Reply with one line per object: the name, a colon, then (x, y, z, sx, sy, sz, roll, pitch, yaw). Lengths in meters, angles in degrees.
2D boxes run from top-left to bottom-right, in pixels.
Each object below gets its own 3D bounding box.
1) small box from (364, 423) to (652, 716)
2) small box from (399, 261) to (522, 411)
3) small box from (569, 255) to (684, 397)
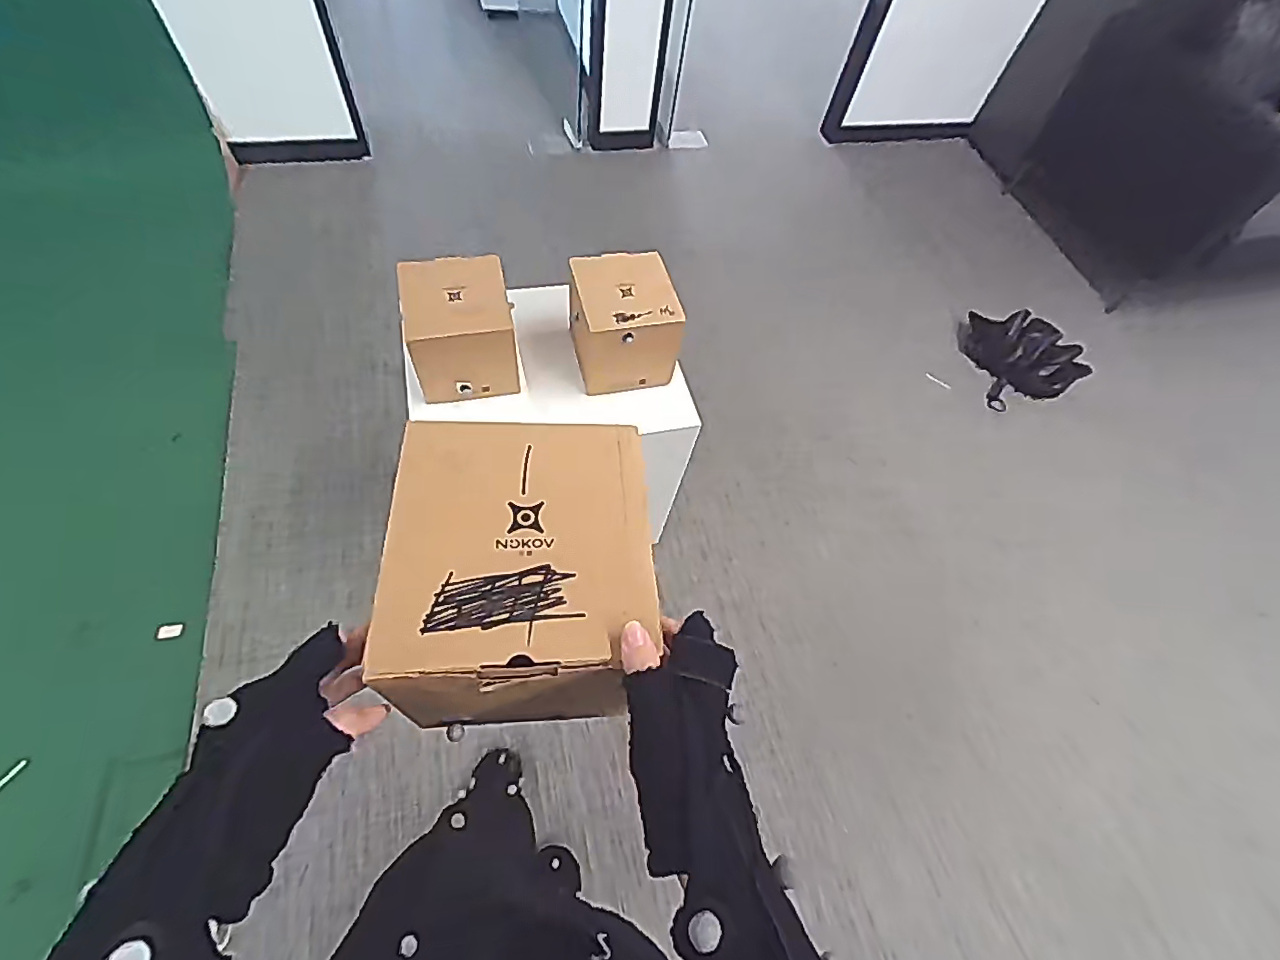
small box: (-0.087, 0.075, 0.417, 0.168, 0.176, 0.179, 0, 56, -9)
small box: (-0.306, -0.247, 0.940, 0.168, 0.176, 0.179, -12, 64, -13)
small box: (-0.034, -0.279, 0.988, 0.168, 0.176, 0.179, -11, 62, -12)
